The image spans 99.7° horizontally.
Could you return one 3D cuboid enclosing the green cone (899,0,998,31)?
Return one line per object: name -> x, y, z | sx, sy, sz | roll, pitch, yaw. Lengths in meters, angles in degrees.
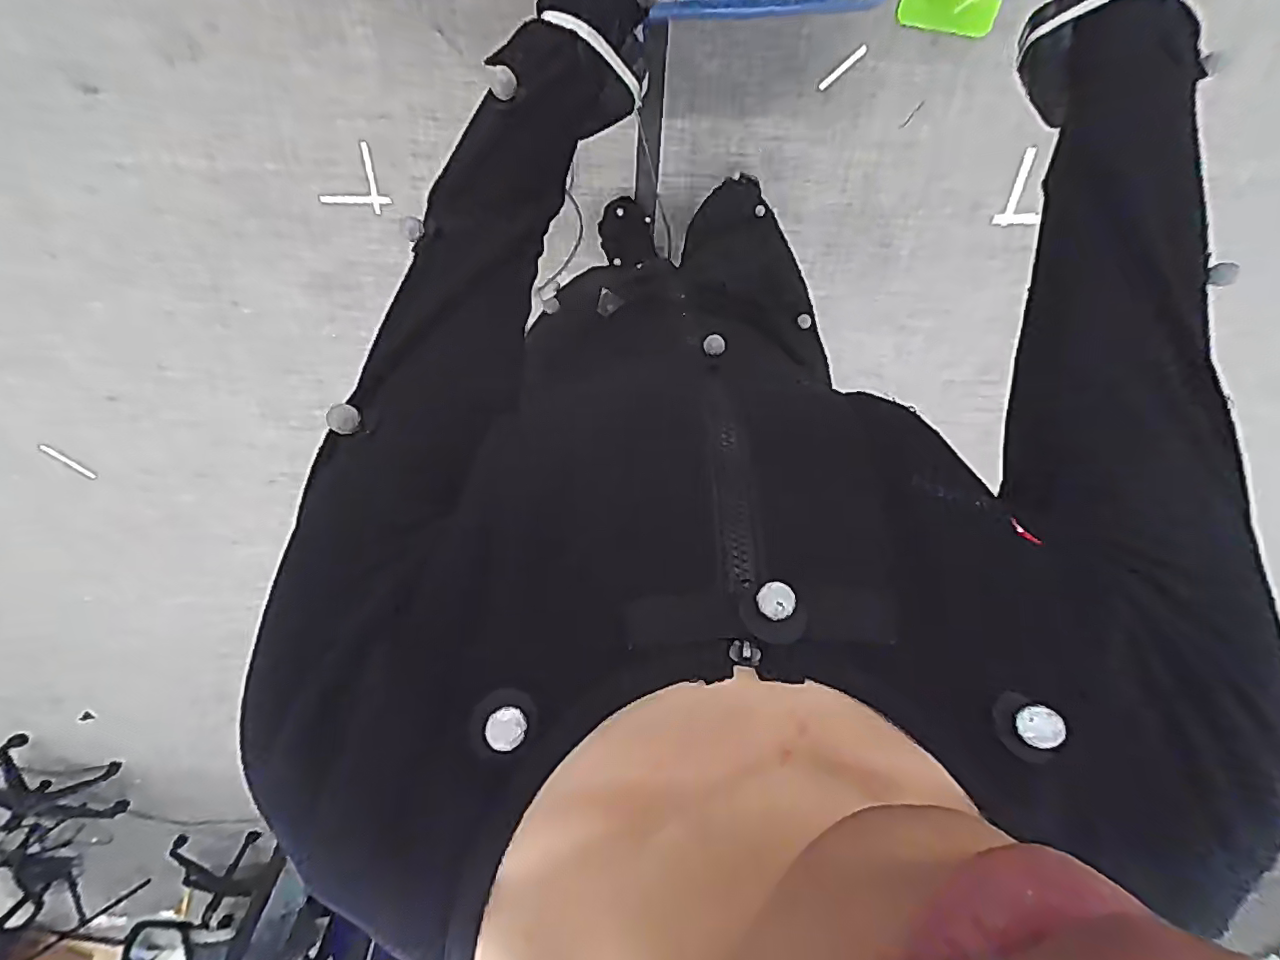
green cone -> 0.618, -0.885, 0.874 | 0.202, 0.368, 0.200 | 3, 124, -7
